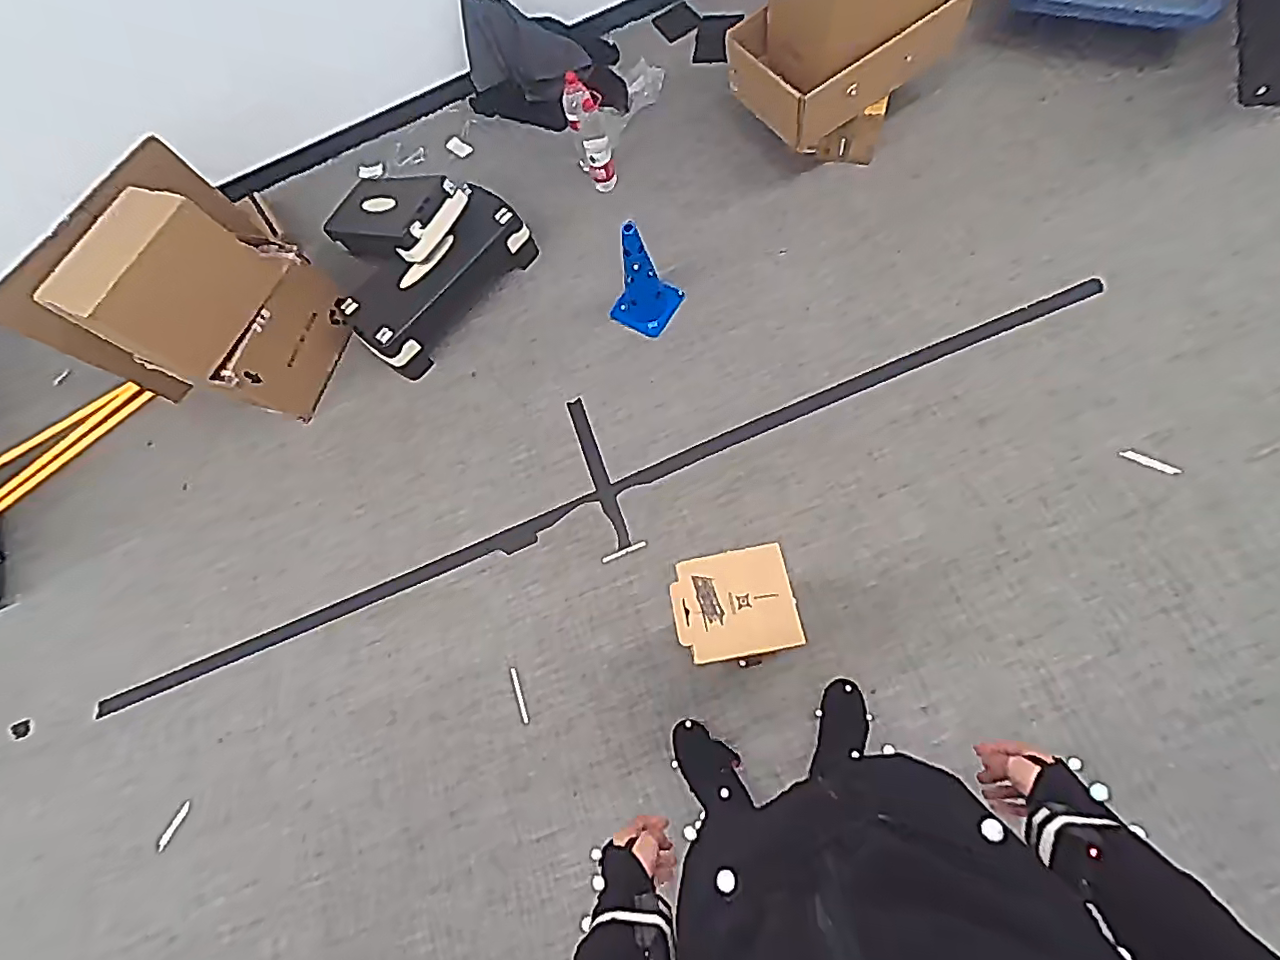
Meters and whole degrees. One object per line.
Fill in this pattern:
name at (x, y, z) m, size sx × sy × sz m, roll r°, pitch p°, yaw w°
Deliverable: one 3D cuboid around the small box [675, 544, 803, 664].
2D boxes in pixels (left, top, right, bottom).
small box at (0.167, 0.222, 0.937) m, size 0.179 × 0.176 × 0.168 m, roll -12°, pitch 70°, yaw 4°
